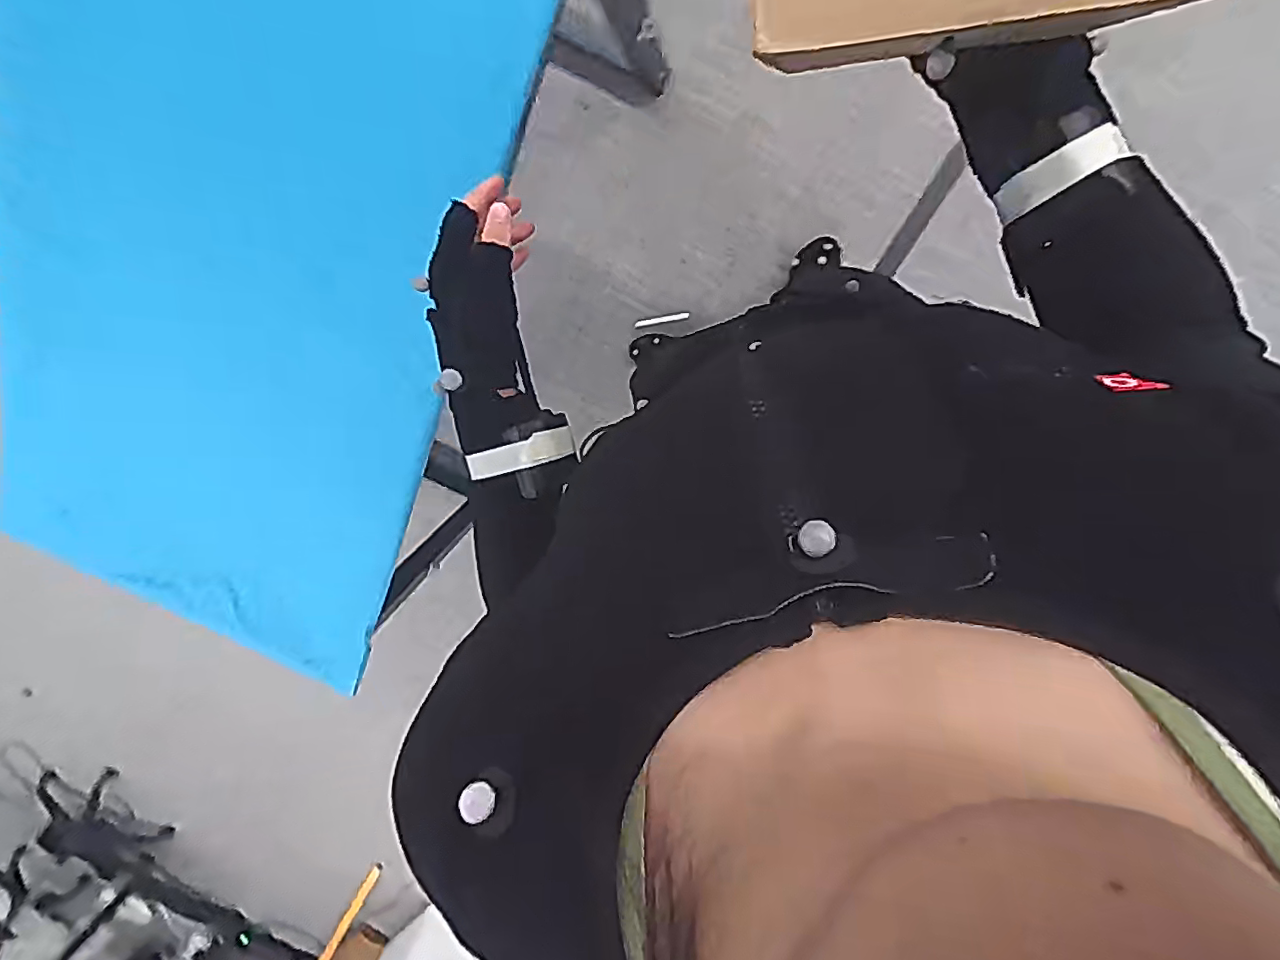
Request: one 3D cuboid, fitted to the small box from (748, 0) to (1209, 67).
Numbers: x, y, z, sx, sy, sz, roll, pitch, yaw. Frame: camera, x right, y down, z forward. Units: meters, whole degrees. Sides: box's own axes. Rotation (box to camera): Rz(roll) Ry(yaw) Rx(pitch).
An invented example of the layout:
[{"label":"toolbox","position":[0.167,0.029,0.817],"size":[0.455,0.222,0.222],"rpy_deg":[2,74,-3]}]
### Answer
[{"label":"small box","position":[0.151,-0.289,0.230],"size":[0.179,0.176,0.168],"rpy_deg":[7,126,18]}]
